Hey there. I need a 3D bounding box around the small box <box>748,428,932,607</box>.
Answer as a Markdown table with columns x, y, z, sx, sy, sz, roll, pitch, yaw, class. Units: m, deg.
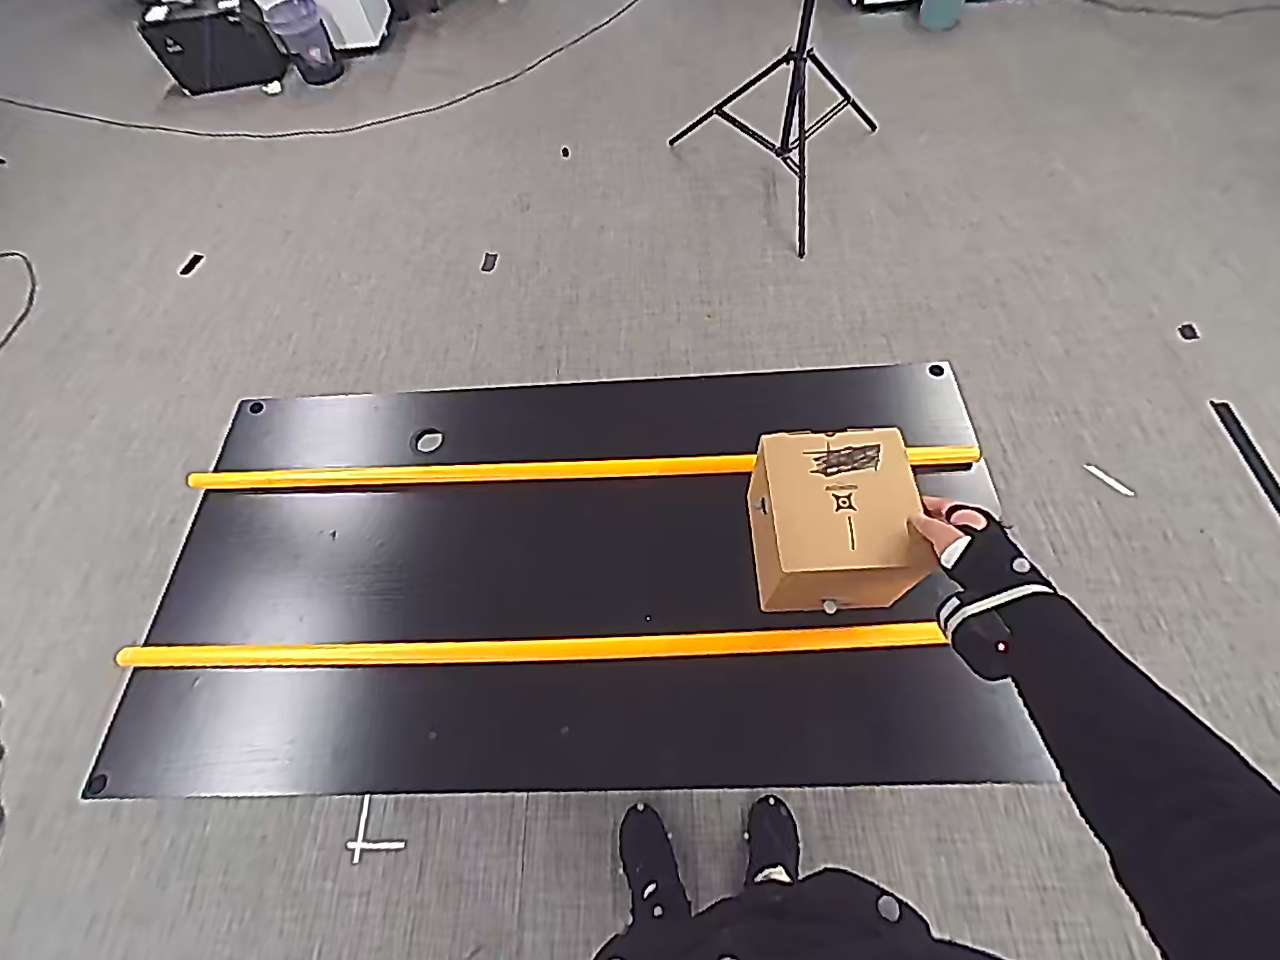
| x | y | z | sx | sy | sz | roll | pitch | yaw | class |
| --- | --- | --- | --- | --- | --- | --- | --- | --- | --- |
| 0.235 | 0.054 | 0.689 | 0.168 | 0.176 | 0.179 | -3 | 62 | 3 | small box |
